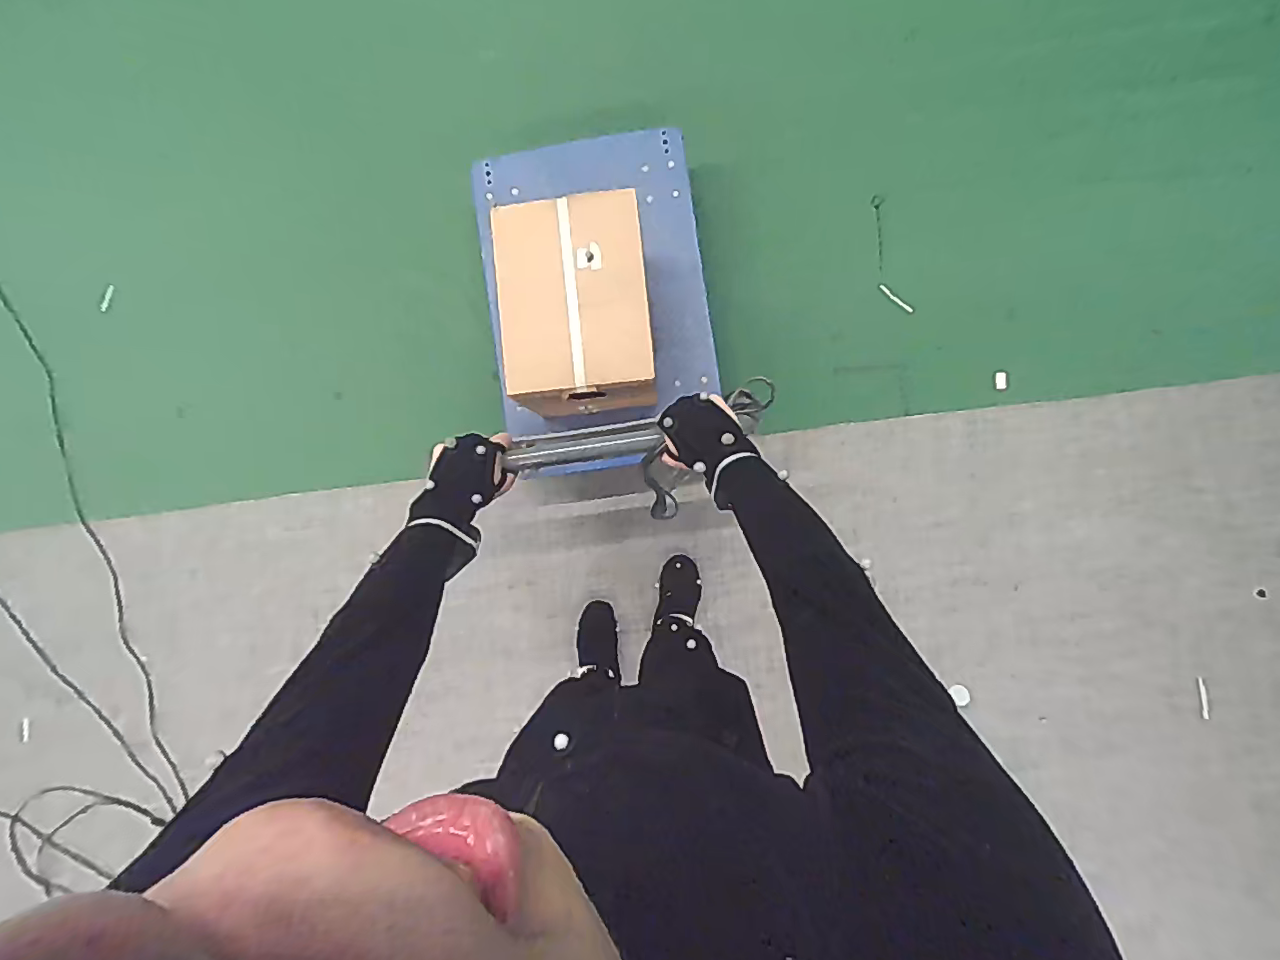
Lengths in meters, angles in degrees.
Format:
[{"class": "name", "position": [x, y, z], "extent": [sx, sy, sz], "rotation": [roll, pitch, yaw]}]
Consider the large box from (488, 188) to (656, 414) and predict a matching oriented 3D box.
[{"class": "large box", "position": [-0.139, -0.390, 1.273], "extent": [0.320, 0.320, 0.408], "rotation": [-6, 88, 2]}]
